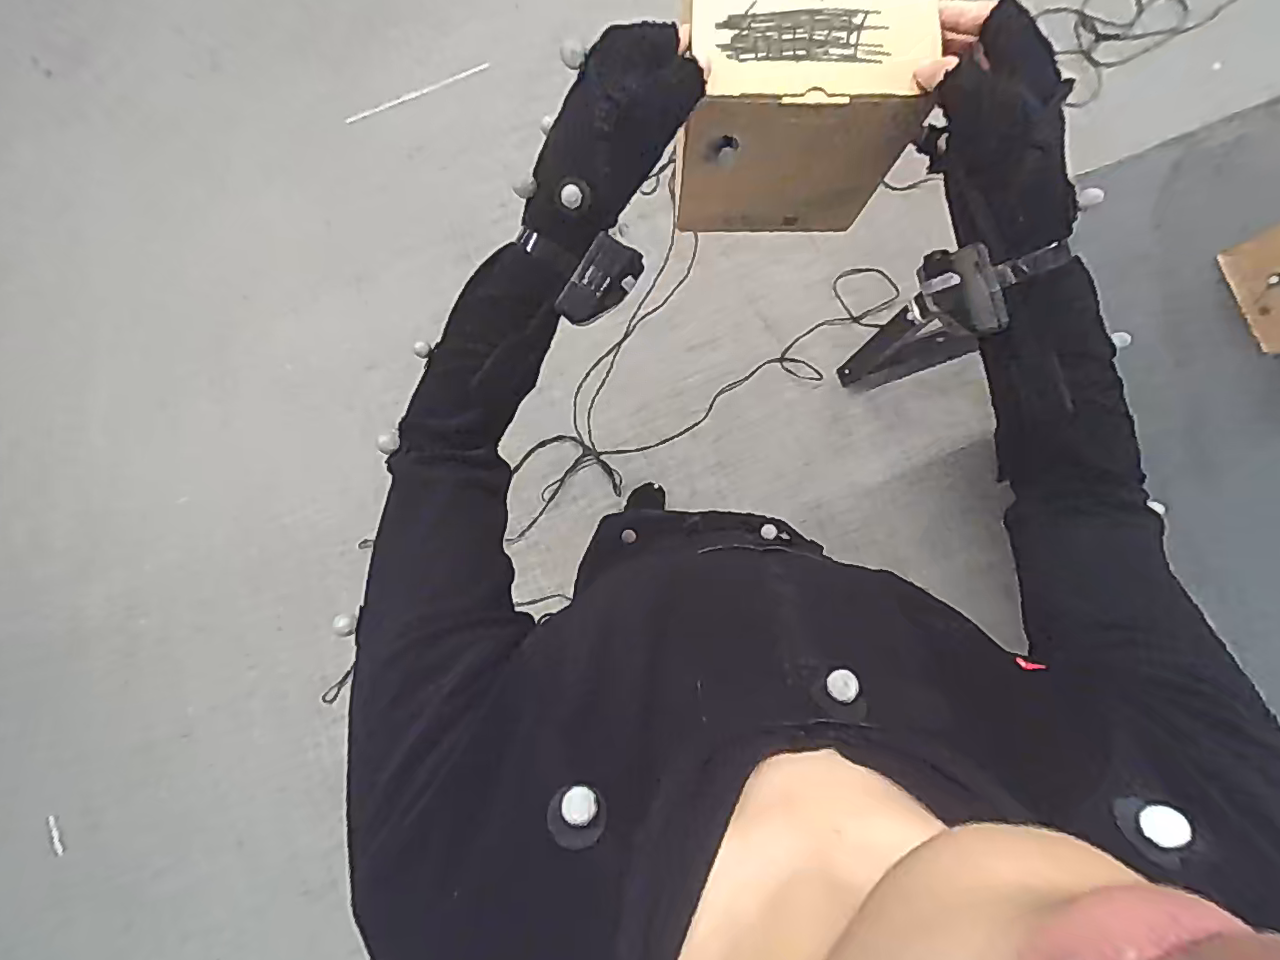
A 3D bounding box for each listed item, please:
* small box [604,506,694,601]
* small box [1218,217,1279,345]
[{"bbox_3d":[0.015,0.188,1.435,0.168,0.176,0.179,34,87,-9],"label":"small box"},{"bbox_3d":[0.968,-0.306,0.727,0.179,0.176,0.168,-19,84,-2],"label":"small box"}]
